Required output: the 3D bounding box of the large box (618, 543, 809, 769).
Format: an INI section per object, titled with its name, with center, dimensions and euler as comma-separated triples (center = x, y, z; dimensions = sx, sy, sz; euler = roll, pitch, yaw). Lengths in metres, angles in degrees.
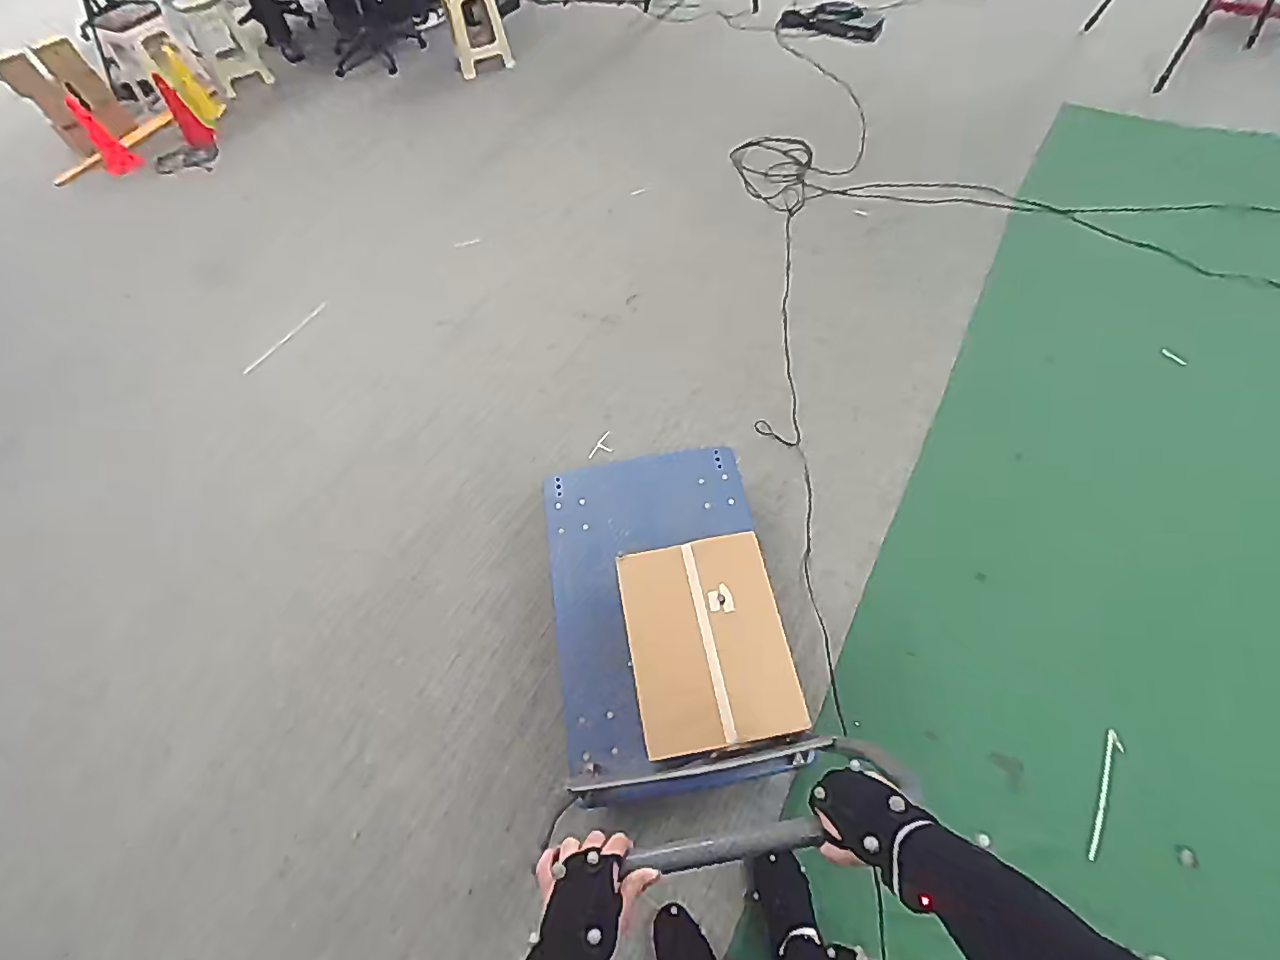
[large box]
center = 0.147, 0.409, 1.239
dimensions = 0.320, 0.320, 0.408
euler = -10, 62, -2
